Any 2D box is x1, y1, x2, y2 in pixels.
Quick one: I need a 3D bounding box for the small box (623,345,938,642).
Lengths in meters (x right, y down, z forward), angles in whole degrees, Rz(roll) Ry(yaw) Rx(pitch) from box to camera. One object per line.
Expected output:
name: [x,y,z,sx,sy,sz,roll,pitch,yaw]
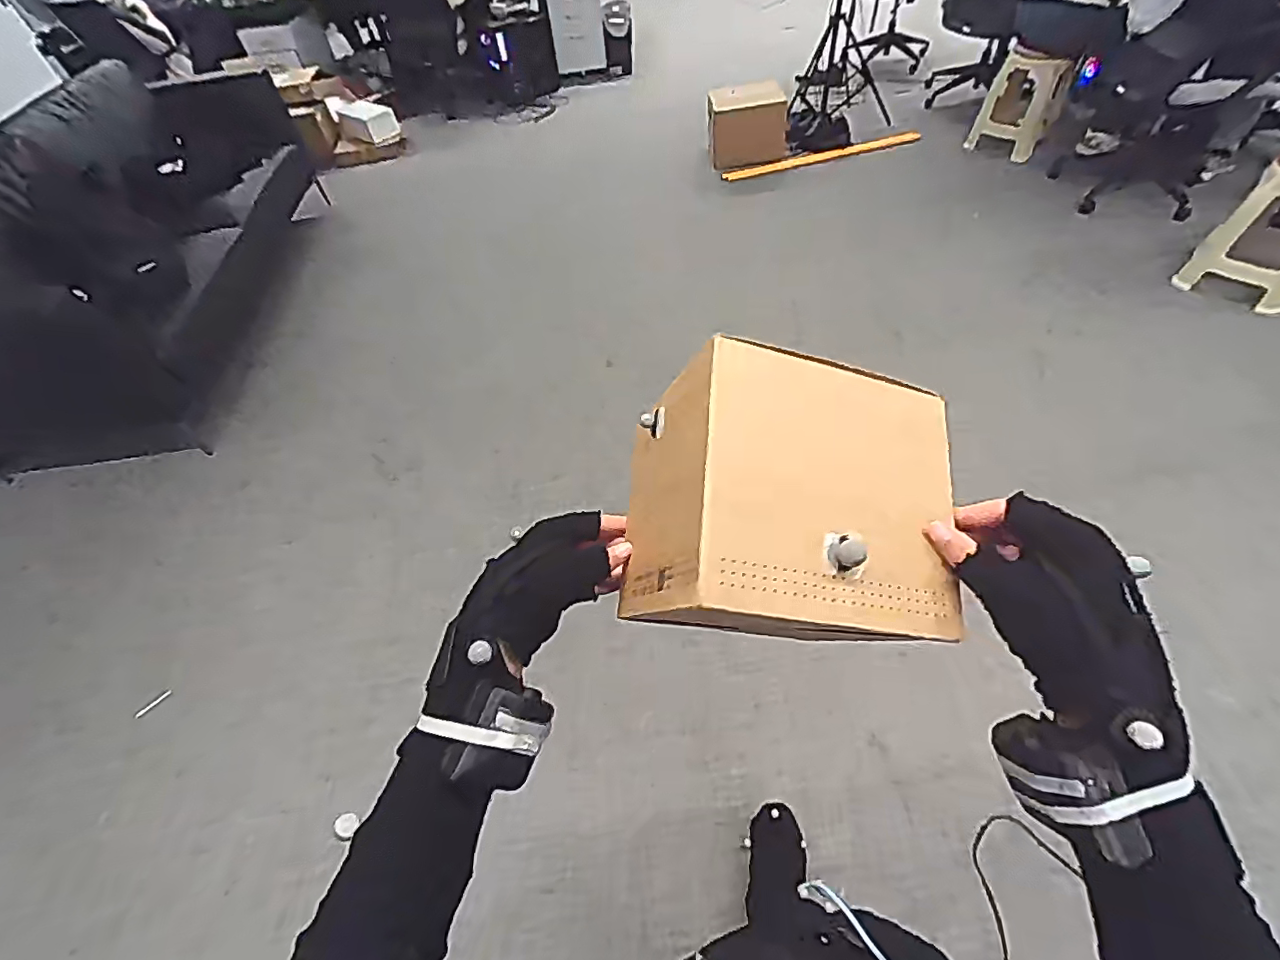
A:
small box: [0.096,0.029,0.409,0.179,0.168,0.176,10,70,-14]
